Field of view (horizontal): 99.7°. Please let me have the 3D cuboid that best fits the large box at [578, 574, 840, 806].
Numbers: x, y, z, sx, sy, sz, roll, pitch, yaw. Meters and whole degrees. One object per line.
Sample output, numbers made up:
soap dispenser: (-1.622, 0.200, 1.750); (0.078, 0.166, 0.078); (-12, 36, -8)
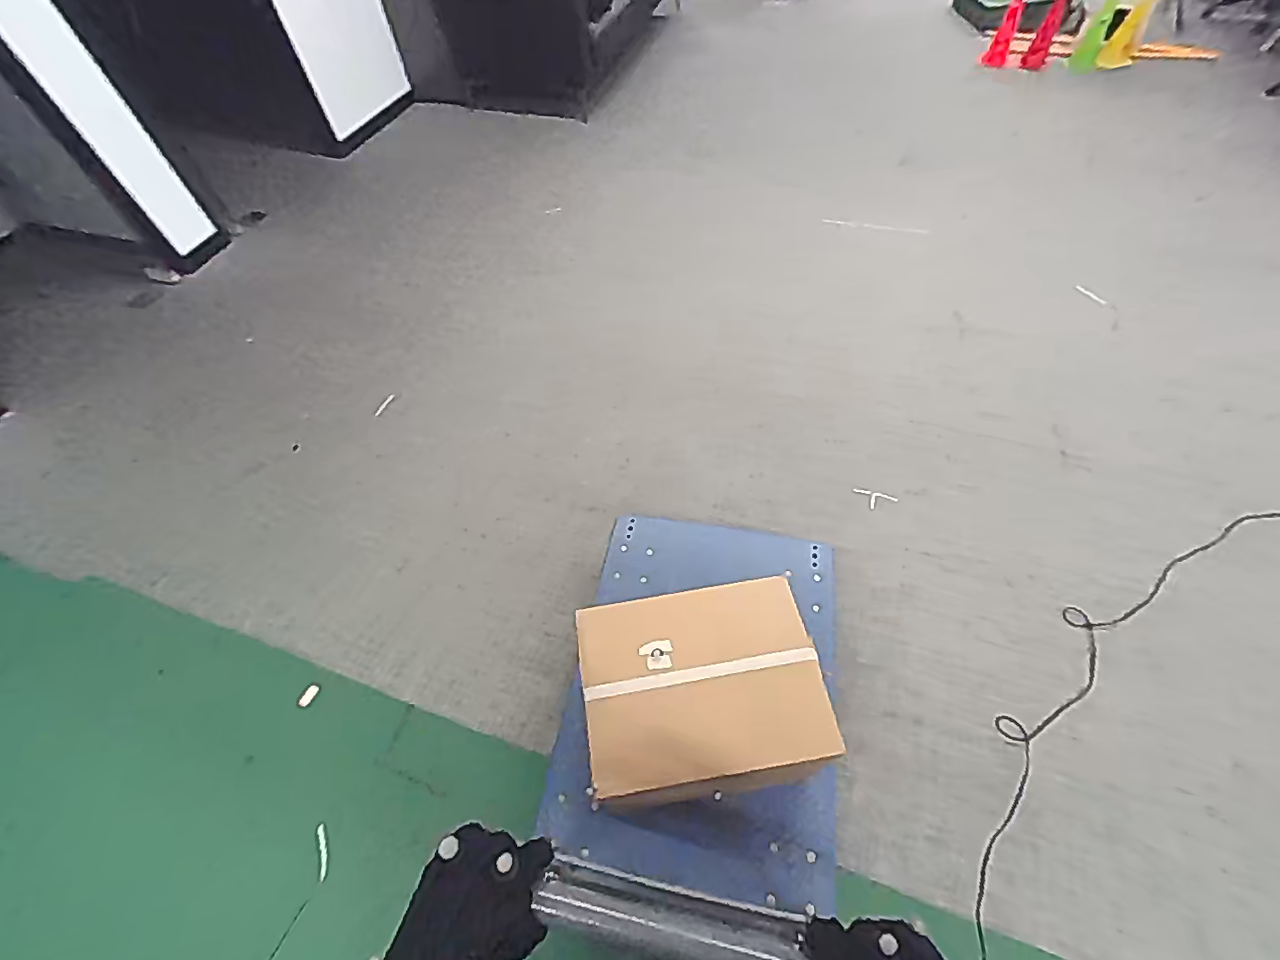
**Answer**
large box: (0.114, 0.419, 1.059); (0.408, 0.320, 0.320); (-10, 54, -2)
